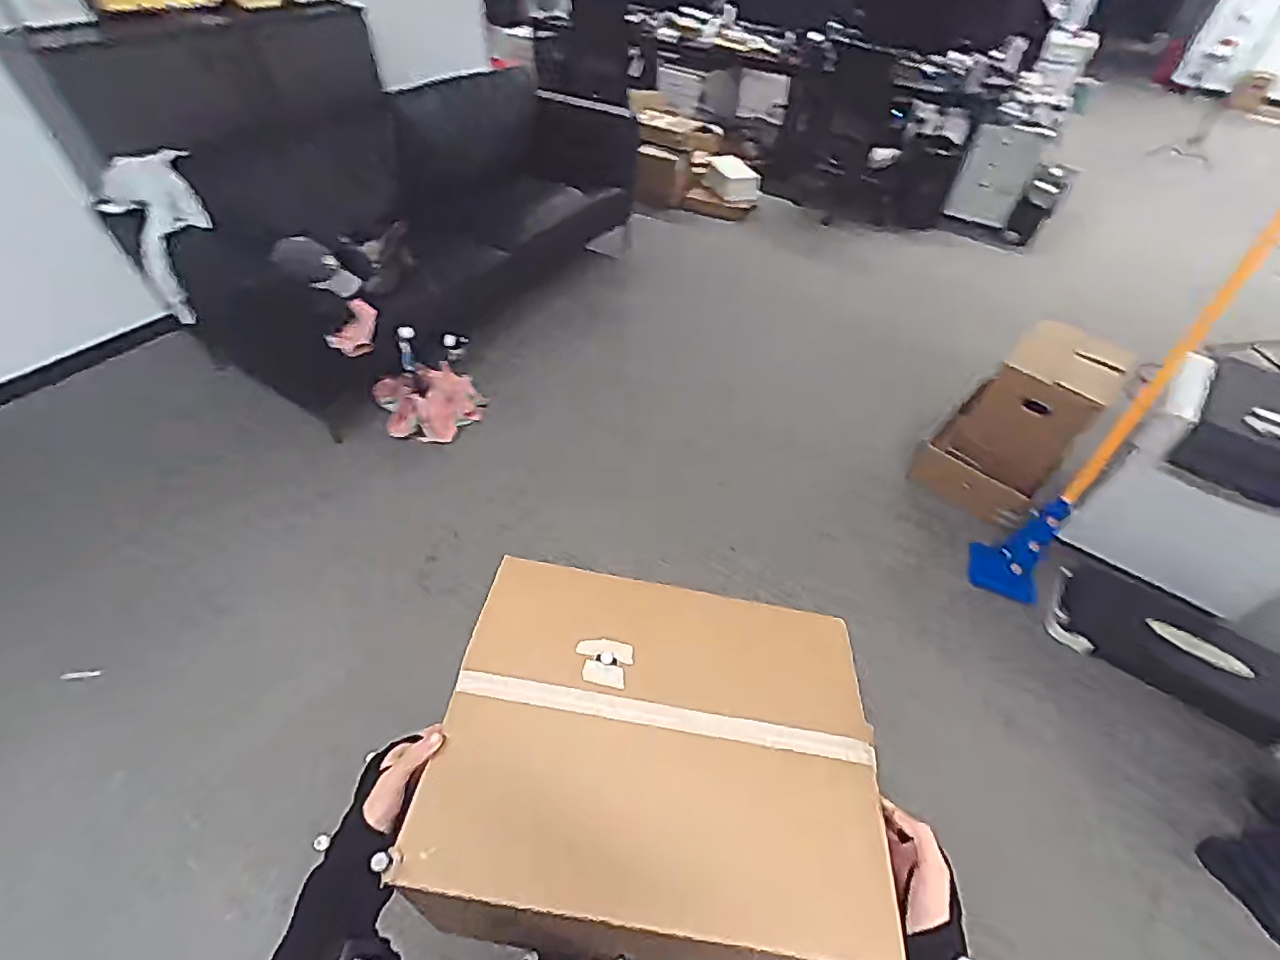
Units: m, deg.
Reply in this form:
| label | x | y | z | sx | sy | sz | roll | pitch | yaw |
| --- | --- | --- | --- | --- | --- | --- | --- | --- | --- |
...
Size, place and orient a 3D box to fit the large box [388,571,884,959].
| label | x | y | z | sx | sy | sz | roll | pitch | yaw |
| --- | --- | --- | --- | --- | --- | --- | --- | --- | --- |
| large box | -0.004 | 0.345 | 0.632 | 0.408 | 0.320 | 0.320 | 10 | 43 | -1 |
